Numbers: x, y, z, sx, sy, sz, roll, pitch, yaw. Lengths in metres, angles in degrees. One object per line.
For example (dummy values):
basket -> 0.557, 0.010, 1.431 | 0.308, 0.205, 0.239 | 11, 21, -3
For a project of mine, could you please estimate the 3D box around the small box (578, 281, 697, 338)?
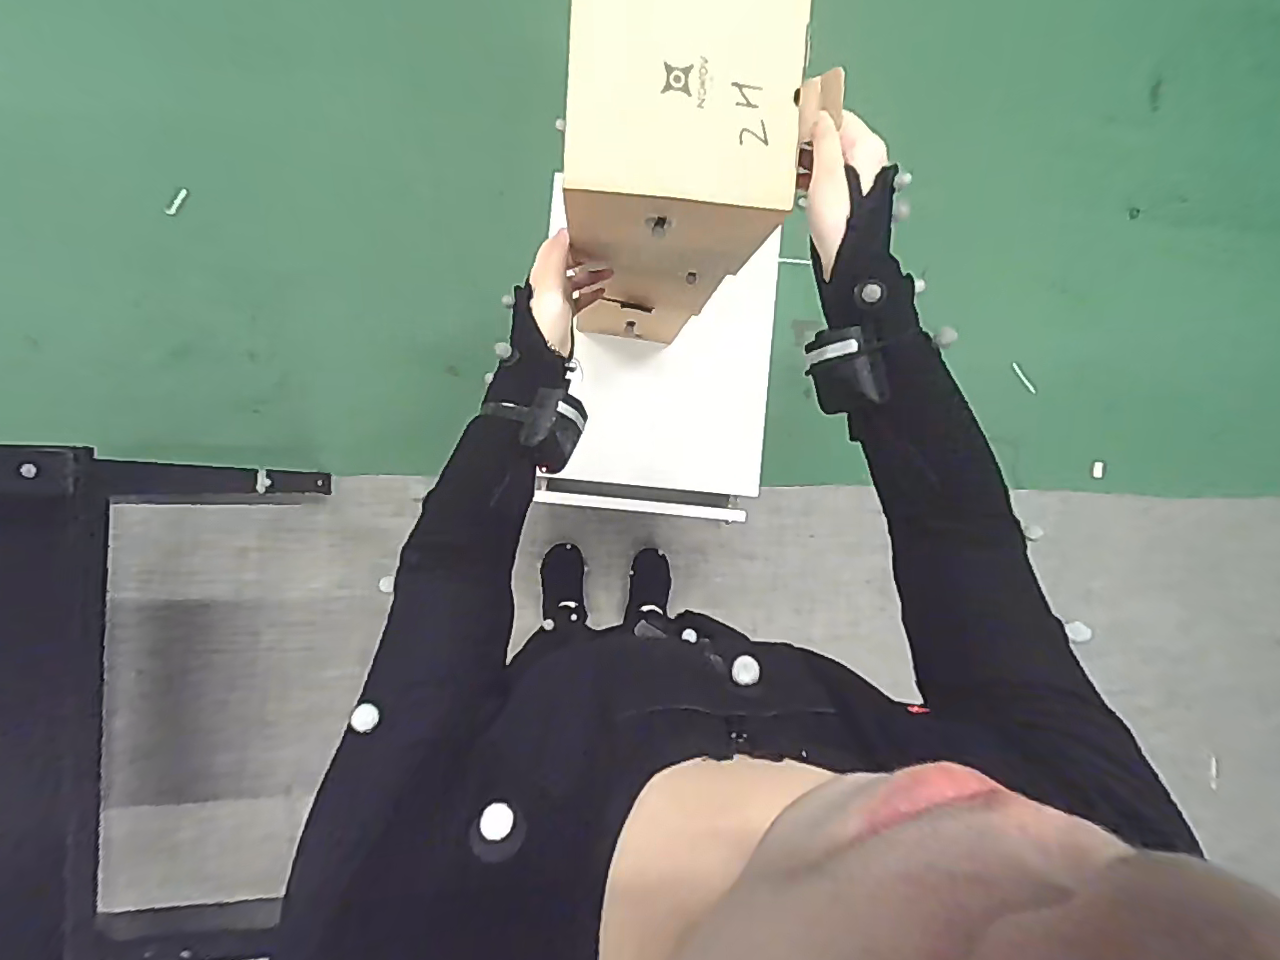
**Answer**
small box -> -0.001, -0.325, 0.811 | 0.168, 0.176, 0.179 | 6, 89, -7

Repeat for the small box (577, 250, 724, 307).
small box -> 0.021, -0.324, 0.650 | 0.179, 0.176, 0.168 | 9, 88, -7

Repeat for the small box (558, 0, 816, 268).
small box -> 0.028, -0.290, 0.458 | 0.179, 0.176, 0.168 | 3, 96, -5
